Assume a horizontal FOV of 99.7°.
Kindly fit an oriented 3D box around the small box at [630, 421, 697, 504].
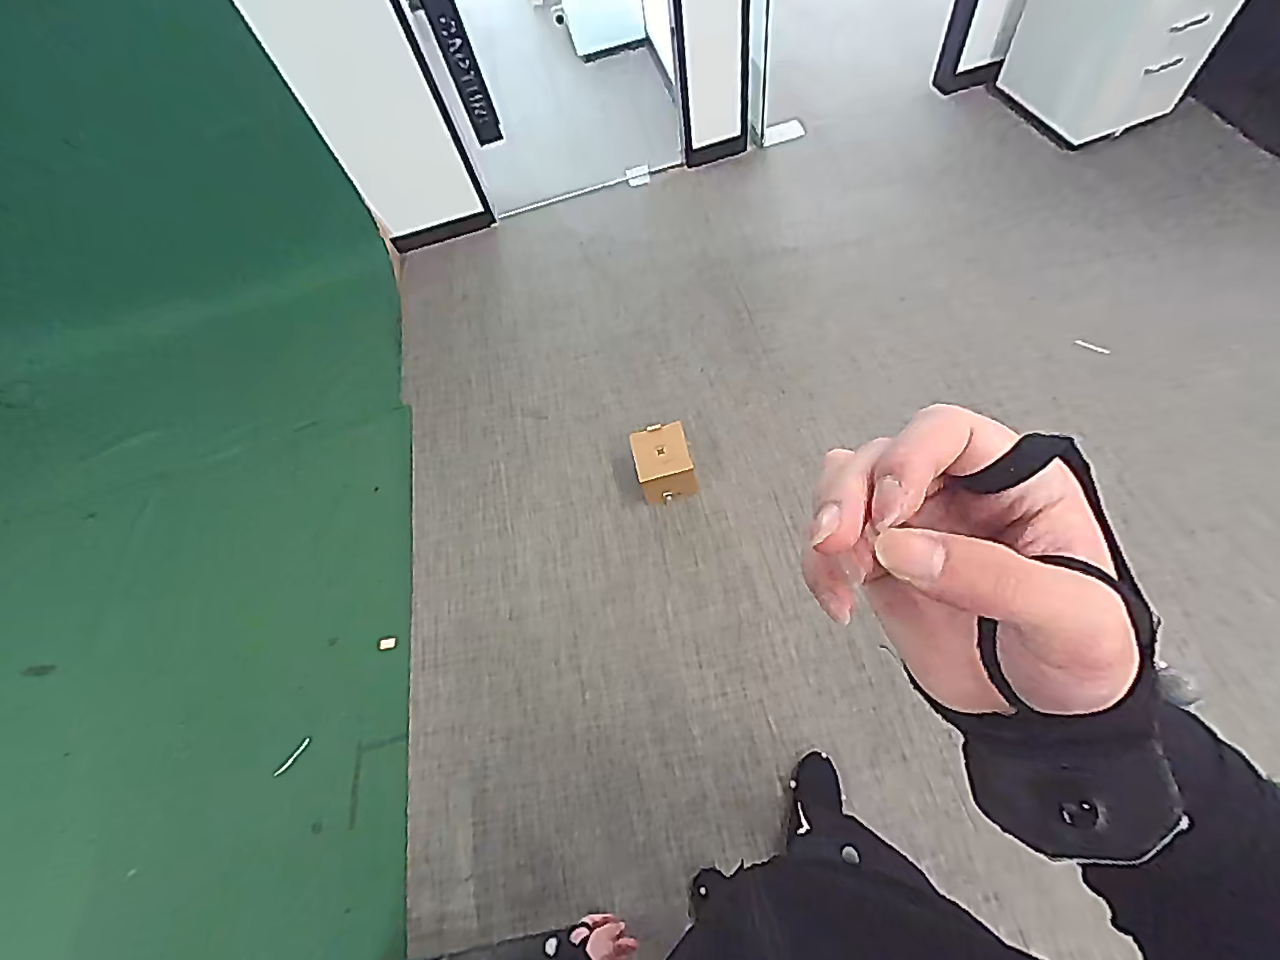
[{"bbox_3d":[0.075,-0.050,1.666,0.168,0.176,0.179,-14,61,5],"label":"small box"}]
